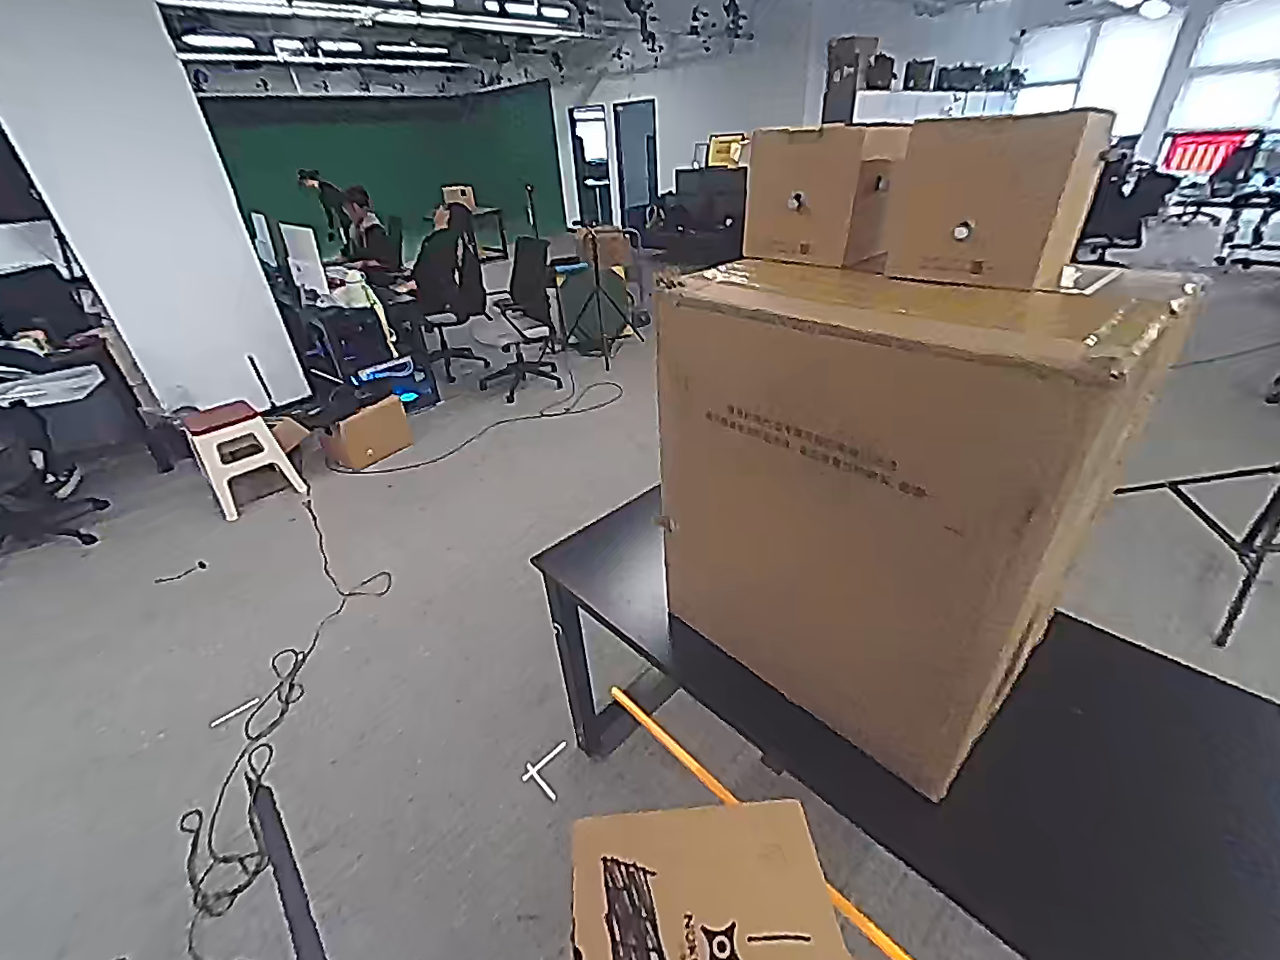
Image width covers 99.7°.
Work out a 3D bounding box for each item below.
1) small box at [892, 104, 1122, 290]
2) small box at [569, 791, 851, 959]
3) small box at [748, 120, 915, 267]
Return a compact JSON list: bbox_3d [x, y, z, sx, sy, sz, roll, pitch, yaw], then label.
[{"bbox_3d":[0.423,-0.334,0.640,0.168,0.176,0.179,25,40,38],"label":"small box"},{"bbox_3d":[0.044,0.356,0.388,0.179,0.176,0.168,-4,35,-4],"label":"small box"},{"bbox_3d":[0.271,-0.417,0.789,0.168,0.176,0.179,25,41,36],"label":"small box"}]
